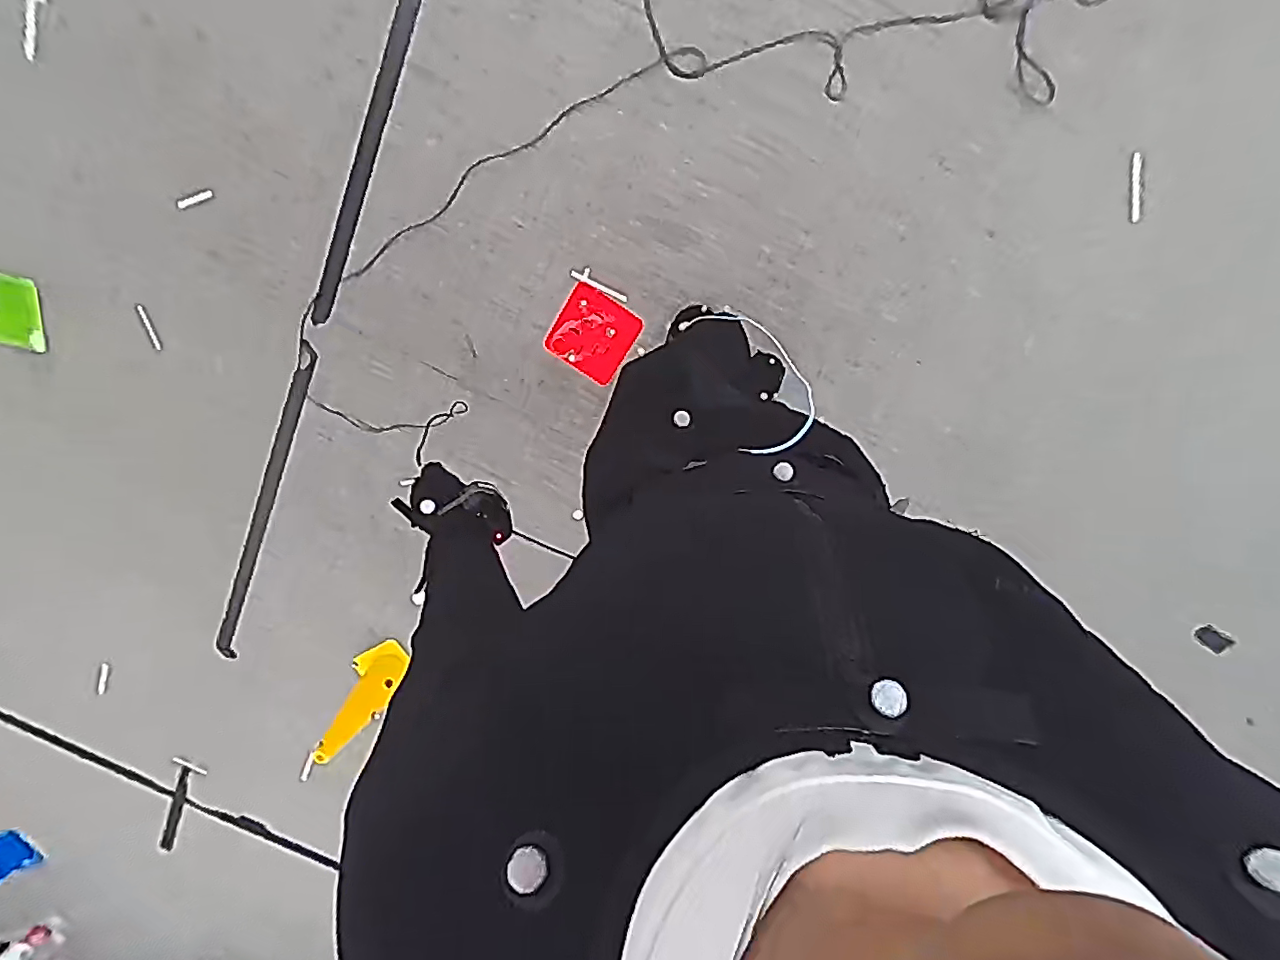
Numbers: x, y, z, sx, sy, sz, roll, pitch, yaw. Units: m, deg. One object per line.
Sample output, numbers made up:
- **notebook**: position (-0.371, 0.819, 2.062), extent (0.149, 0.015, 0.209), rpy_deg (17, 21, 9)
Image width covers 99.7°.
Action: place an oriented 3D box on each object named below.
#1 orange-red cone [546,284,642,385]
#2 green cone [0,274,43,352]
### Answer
- **orange-red cone**: position (-0.140, -0.313, 1.215), extent (0.198, 0.360, 0.199), rpy_deg (35, 110, -4)
- **green cone**: position (-1.817, -0.431, 1.376), extent (0.200, 0.368, 0.202), rpy_deg (12, 108, 2)
